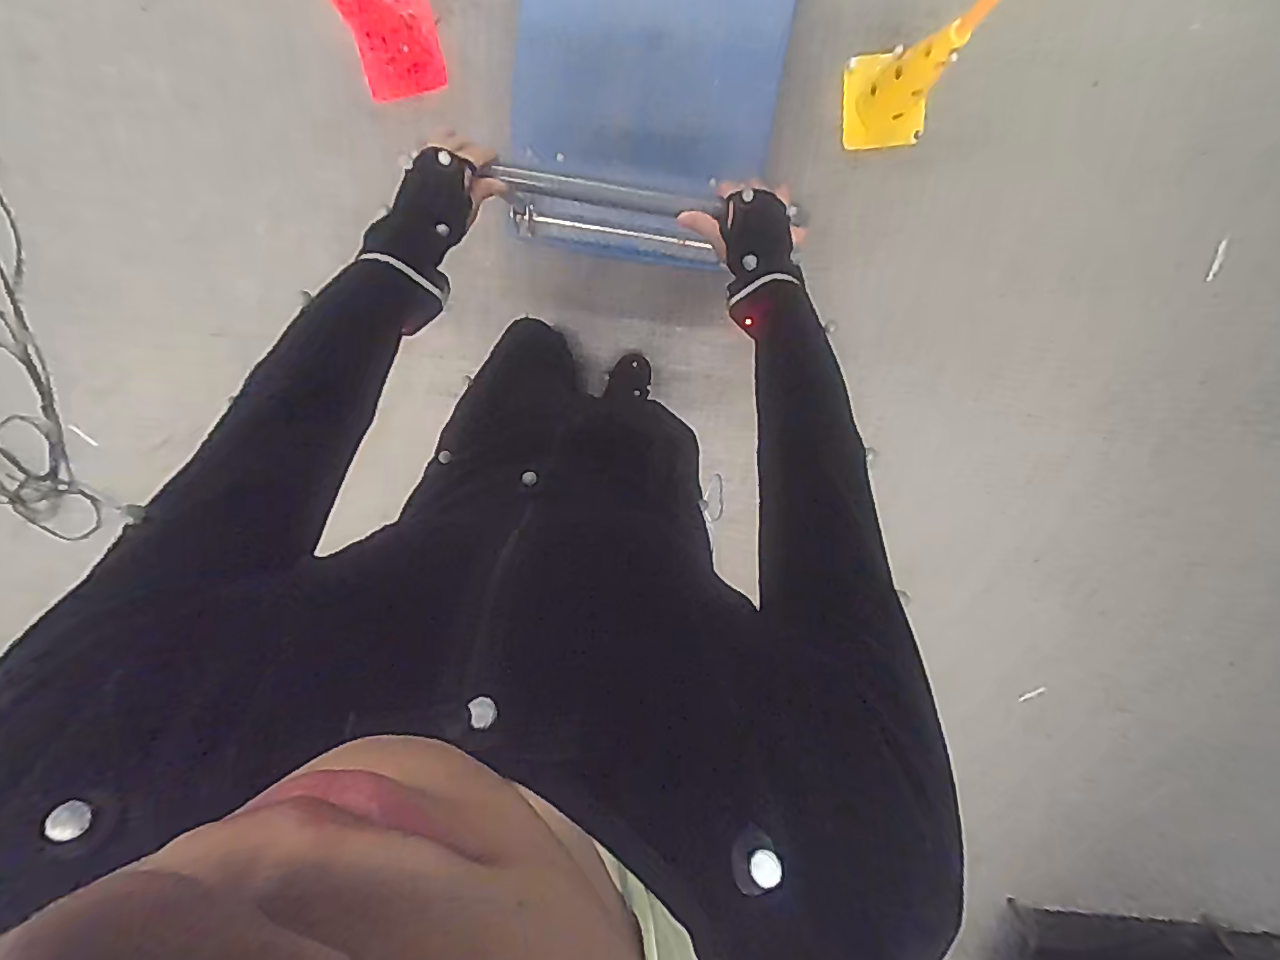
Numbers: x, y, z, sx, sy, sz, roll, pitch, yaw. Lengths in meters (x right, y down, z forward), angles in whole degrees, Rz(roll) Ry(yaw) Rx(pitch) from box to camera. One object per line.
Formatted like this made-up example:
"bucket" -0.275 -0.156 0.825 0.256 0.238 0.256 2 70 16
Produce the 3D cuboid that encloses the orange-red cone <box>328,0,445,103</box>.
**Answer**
"orange-red cone" -0.586 -0.983 1.144 0.199 0.360 0.198 -8 107 5
